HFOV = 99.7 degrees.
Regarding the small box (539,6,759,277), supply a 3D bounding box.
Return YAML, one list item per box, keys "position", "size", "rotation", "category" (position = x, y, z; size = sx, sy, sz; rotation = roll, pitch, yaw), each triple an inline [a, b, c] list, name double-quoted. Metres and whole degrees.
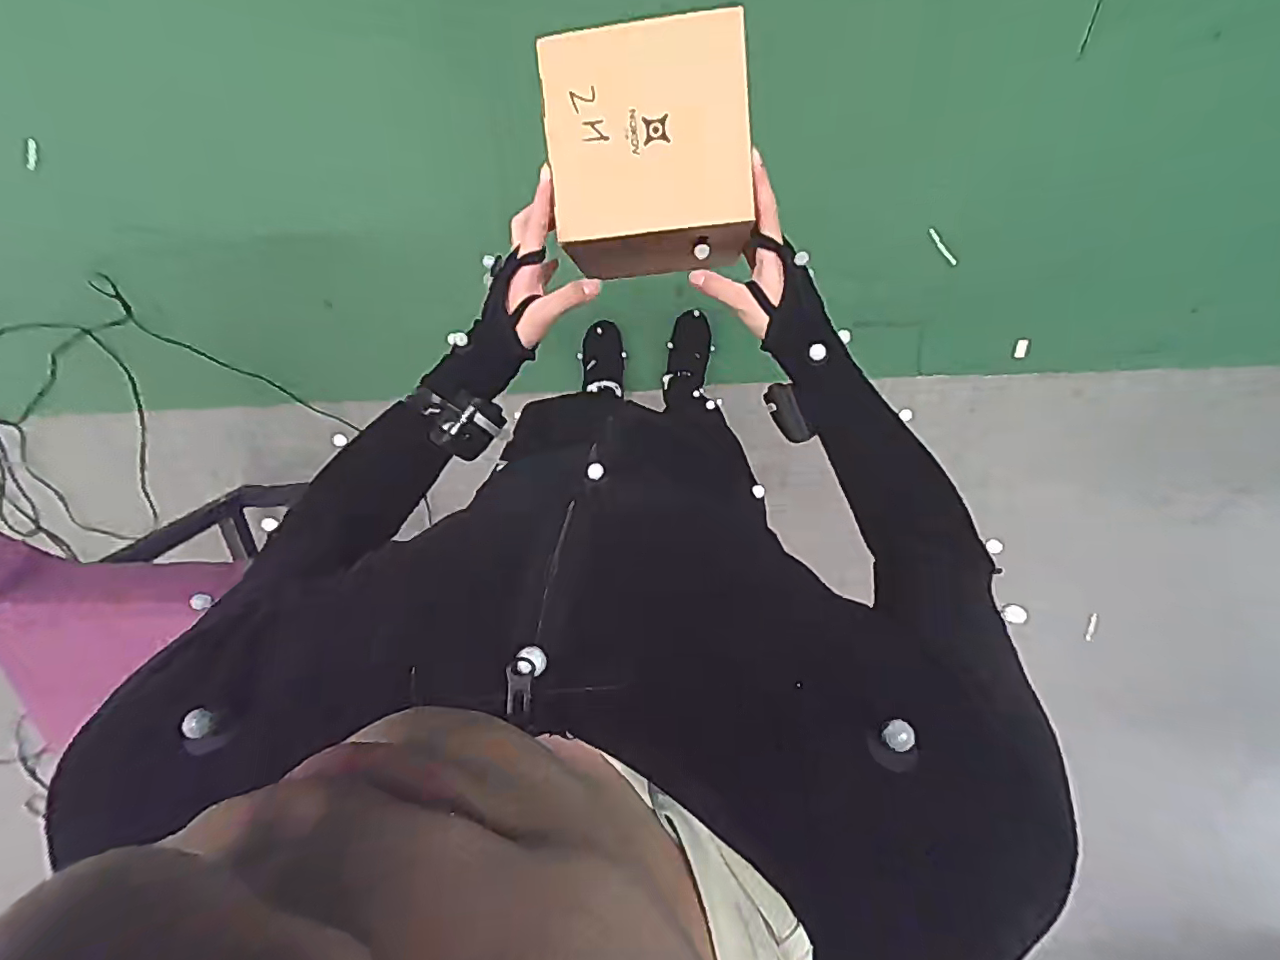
- position: [0.015, -0.306, 0.528]
  size: [0.179, 0.176, 0.168]
  rotation: [-4, 99, 6]
  category: "small box"
